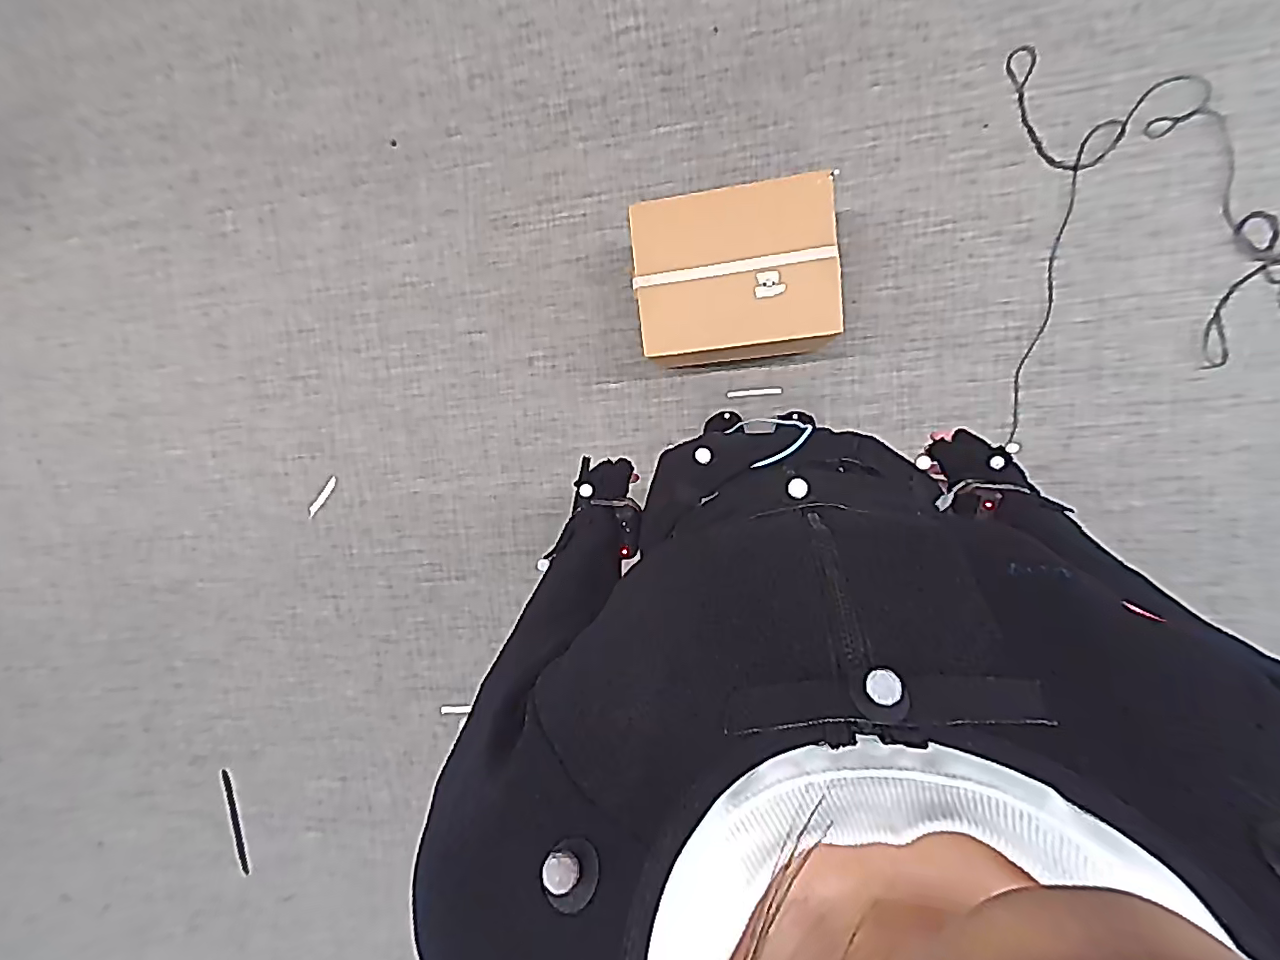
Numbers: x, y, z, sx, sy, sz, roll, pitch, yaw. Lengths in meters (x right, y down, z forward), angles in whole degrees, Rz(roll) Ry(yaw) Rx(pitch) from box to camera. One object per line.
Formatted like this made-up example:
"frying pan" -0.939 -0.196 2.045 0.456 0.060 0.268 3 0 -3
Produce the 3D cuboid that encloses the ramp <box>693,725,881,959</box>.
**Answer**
"ramp" 0.395 1.191 1.478 0.509 0.206 0.991 -3 96 12

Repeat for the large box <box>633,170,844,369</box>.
"large box" 0.218 -0.448 1.241 0.408 0.320 0.320 -5 97 10
